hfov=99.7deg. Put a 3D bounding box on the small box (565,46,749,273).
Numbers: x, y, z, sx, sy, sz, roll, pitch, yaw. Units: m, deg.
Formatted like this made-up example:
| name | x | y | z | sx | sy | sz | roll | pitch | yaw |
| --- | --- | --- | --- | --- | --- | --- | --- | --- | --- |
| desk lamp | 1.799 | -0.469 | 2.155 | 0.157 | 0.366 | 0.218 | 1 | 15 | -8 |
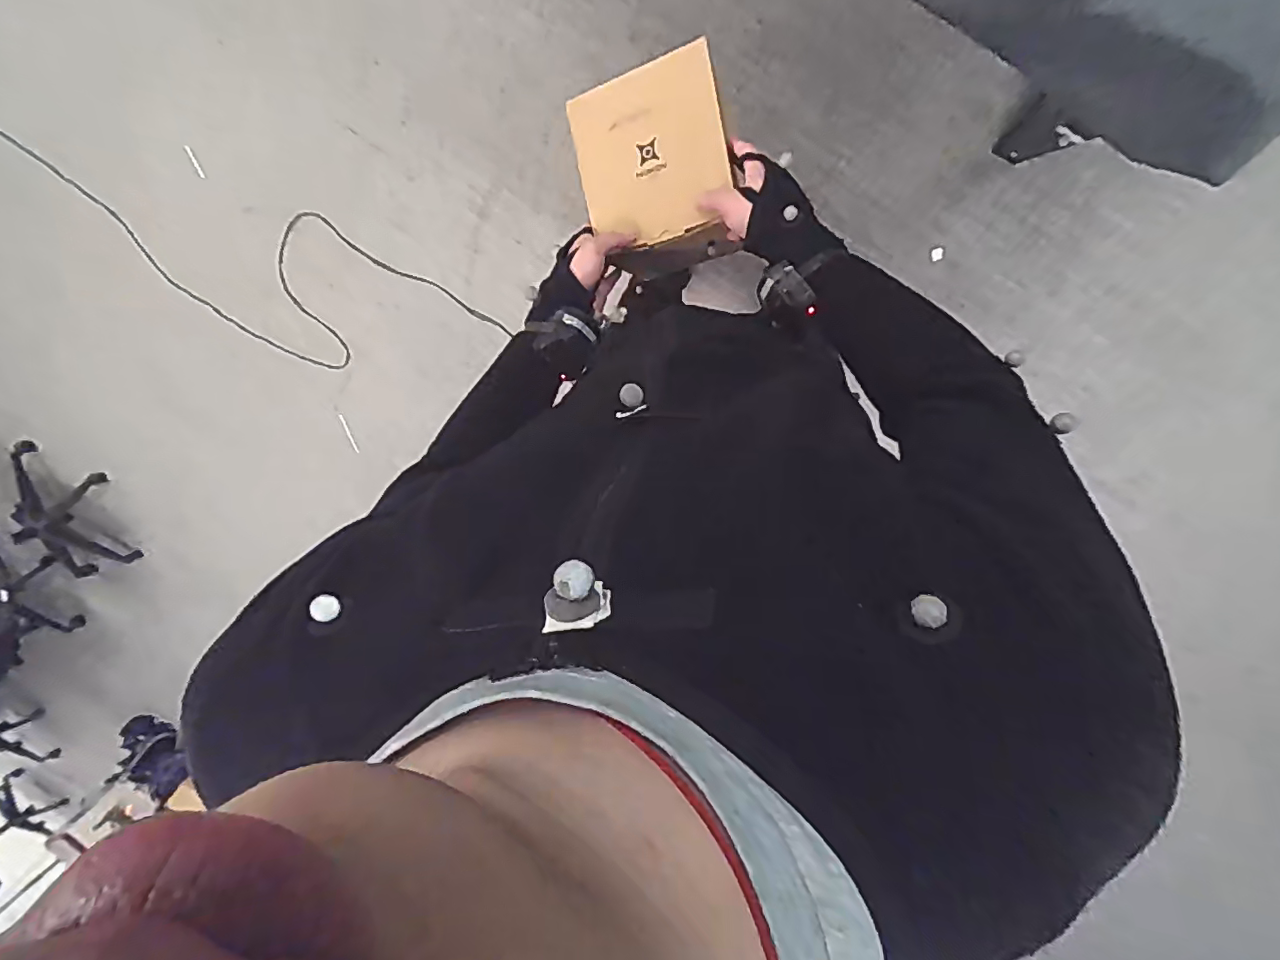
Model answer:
| name | x | y | z | sx | sy | sz | roll | pitch | yaw |
| --- | --- | --- | --- | --- | --- | --- | --- | --- | --- |
| small box | 0.032 | -0.369 | 0.669 | 0.168 | 0.176 | 0.179 | -10 | 97 | 20 |
